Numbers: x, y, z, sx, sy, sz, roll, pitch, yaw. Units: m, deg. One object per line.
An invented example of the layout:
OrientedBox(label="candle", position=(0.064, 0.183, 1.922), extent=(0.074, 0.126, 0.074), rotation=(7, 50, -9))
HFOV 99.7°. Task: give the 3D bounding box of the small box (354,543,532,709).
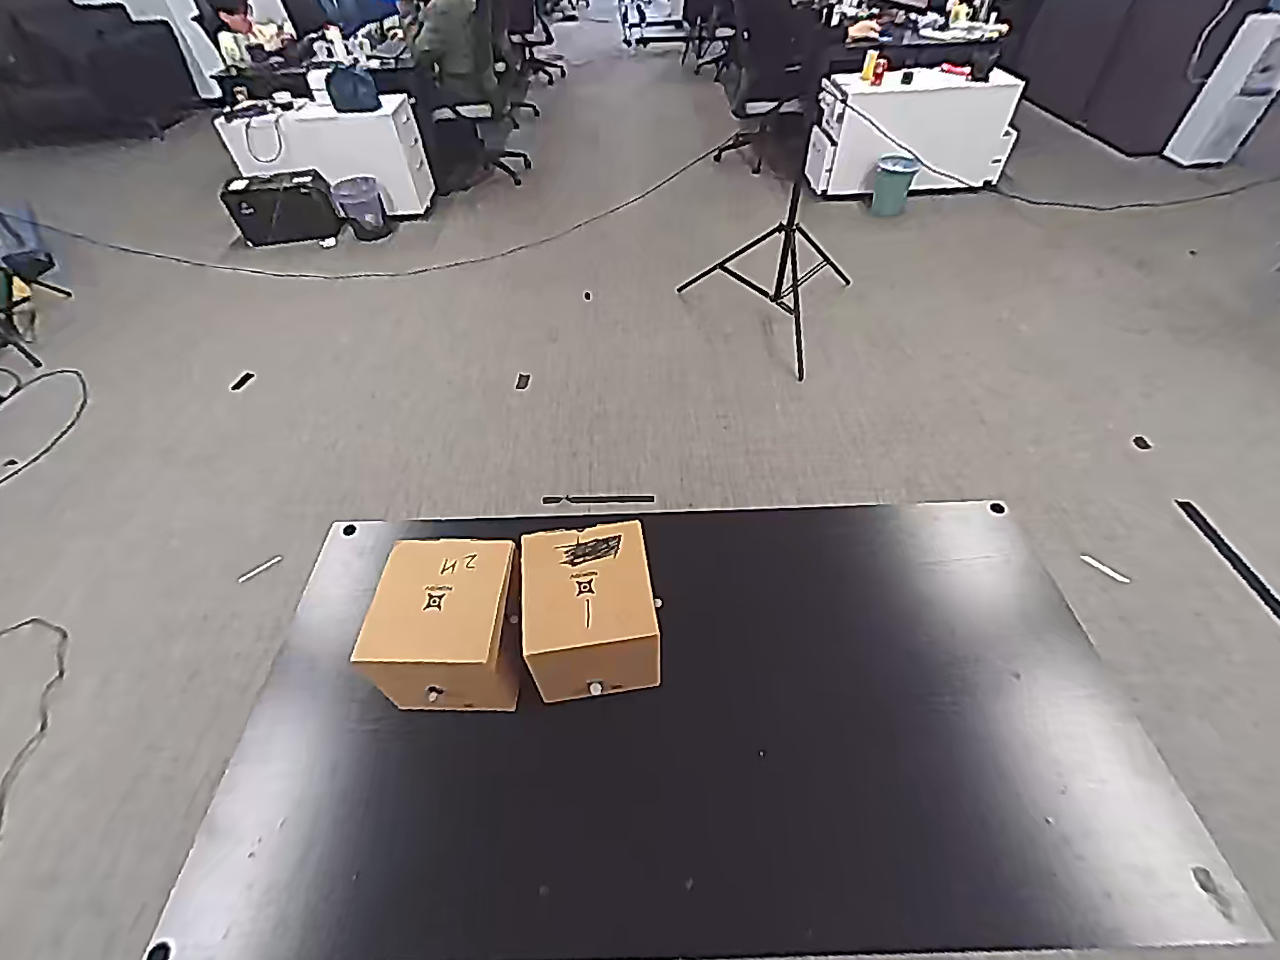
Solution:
OrientedBox(label="small box", position=(-0.254, 0.205, 0.750), extent=(0.168, 0.176, 0.179), rotation=(0, 48, 2))
